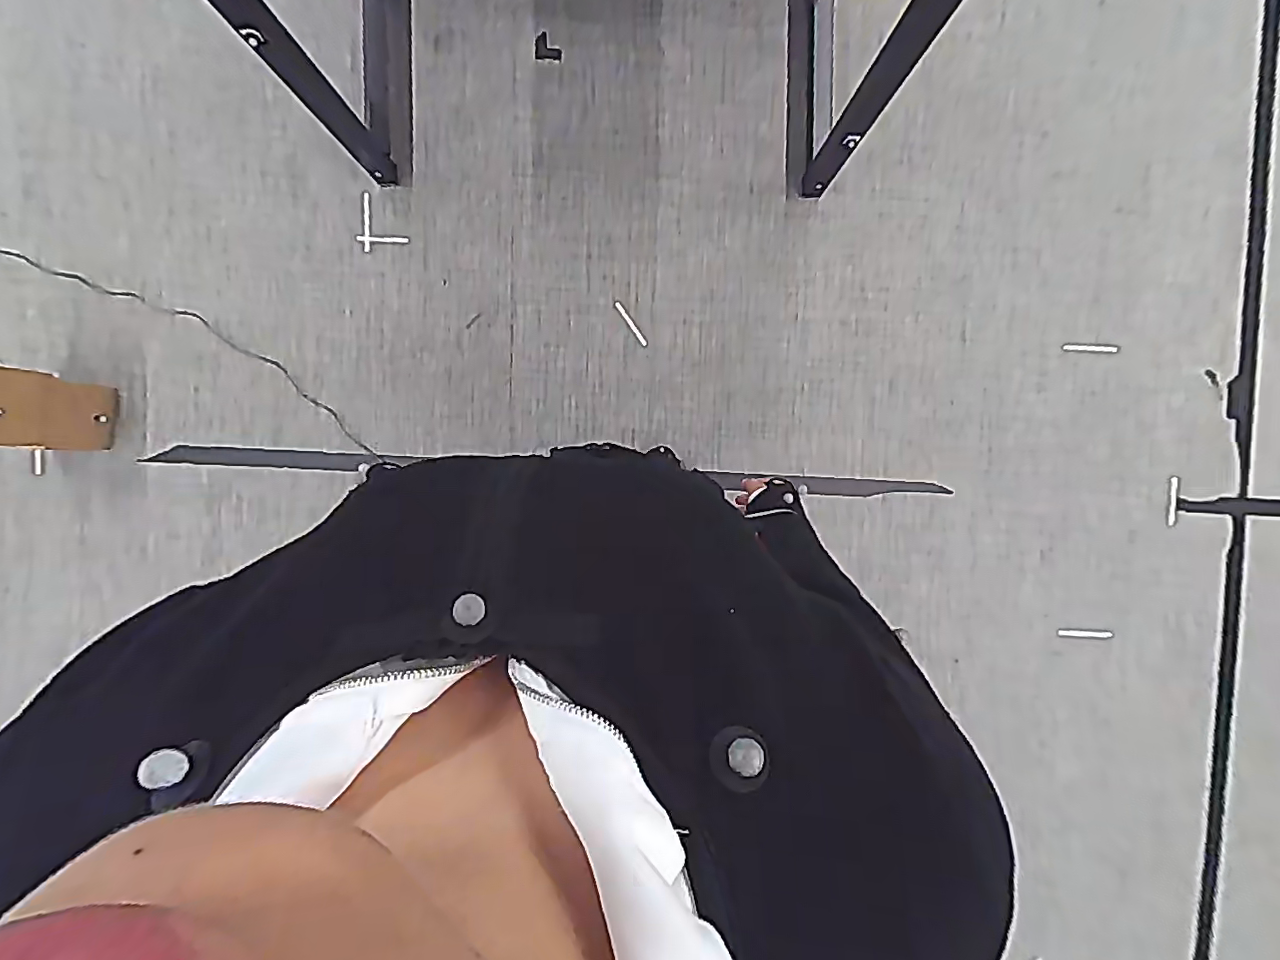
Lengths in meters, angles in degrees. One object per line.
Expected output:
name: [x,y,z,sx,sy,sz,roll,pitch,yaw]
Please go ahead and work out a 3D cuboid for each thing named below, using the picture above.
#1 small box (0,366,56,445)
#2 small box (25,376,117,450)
small box: [-1.476,-0.170,1.212,0.168,0.176,0.179,3,92,-2]
small box: [-1.496,-0.174,1.377,0.168,0.176,0.179,9,92,-2]
